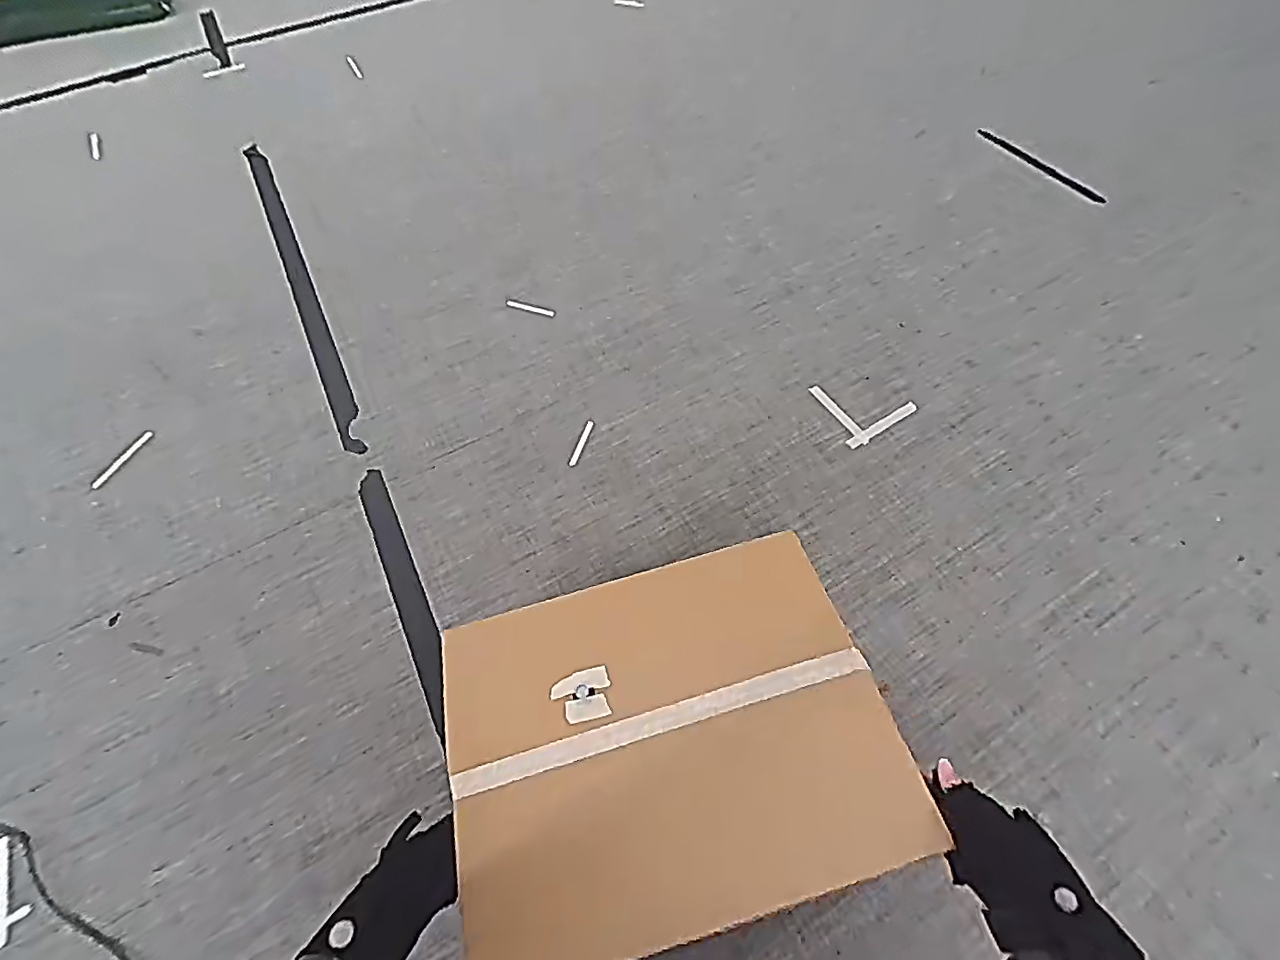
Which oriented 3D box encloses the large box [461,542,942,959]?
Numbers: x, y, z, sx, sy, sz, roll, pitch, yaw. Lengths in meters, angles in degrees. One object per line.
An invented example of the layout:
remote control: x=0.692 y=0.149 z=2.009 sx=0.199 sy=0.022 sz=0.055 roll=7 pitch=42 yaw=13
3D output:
large box: x=0.048 y=0.329 z=0.649 sx=0.408 sy=0.320 sz=0.320 roll=-17 pitch=53 yaw=-4
